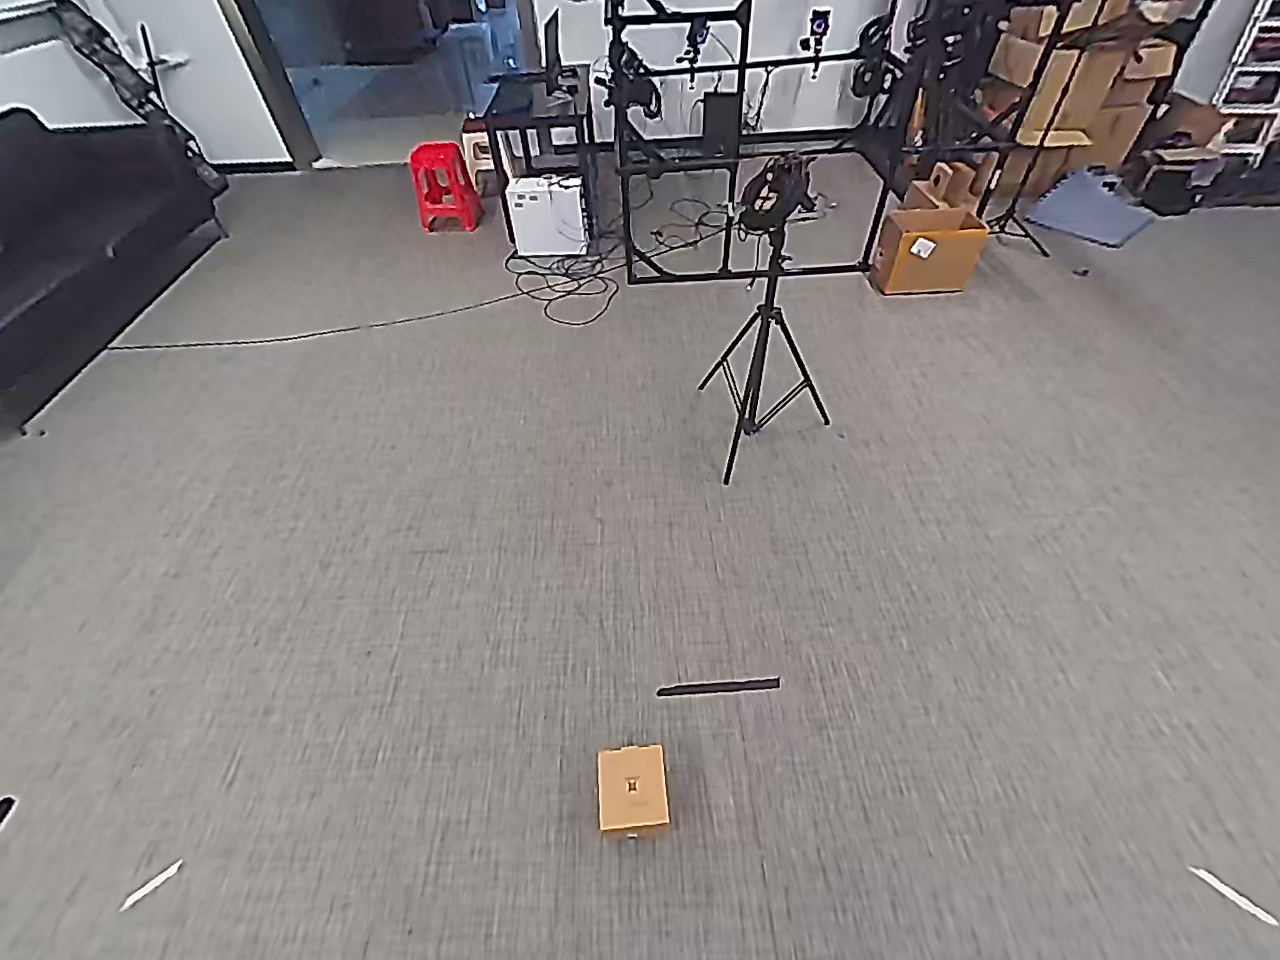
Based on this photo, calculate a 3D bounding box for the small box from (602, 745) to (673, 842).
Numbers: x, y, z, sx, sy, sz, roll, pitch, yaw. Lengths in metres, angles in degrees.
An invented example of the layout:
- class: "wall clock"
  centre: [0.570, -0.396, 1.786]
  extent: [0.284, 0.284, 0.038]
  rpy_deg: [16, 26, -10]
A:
- class: "small box"
  centre: [-0.008, 0.798, 1.374]
  extent: [0.168, 0.176, 0.179]
  rpy_deg: [-6, 48, -1]
